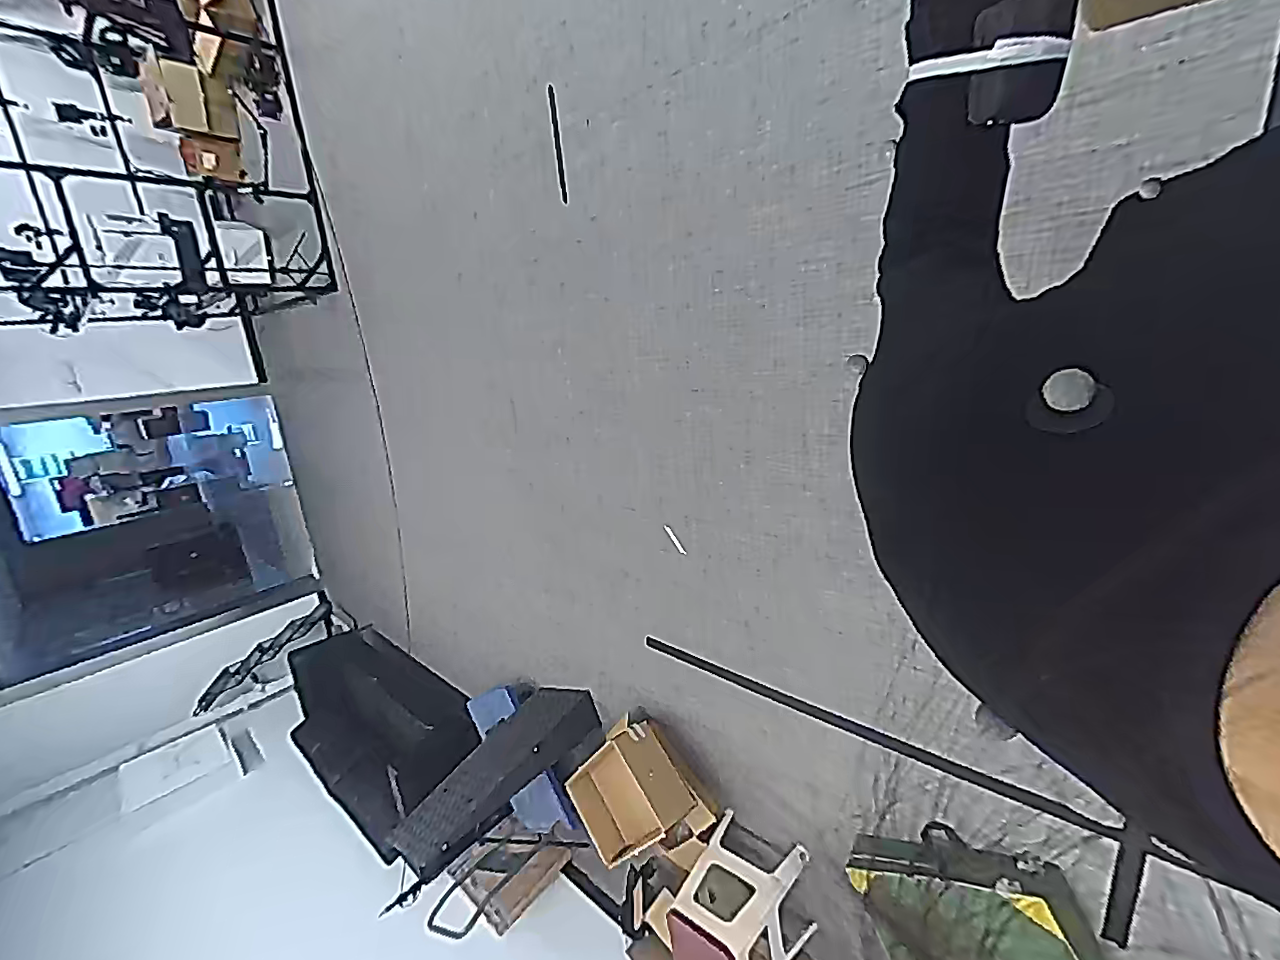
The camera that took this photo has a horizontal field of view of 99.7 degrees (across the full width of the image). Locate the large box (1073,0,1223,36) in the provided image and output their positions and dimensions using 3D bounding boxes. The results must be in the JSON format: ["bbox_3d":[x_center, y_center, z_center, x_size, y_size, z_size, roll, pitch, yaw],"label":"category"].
[{"bbox_3d":[0.451,-0.474,0.229,0.408,0.320,0.320,12,120,41],"label":"large box"}]
